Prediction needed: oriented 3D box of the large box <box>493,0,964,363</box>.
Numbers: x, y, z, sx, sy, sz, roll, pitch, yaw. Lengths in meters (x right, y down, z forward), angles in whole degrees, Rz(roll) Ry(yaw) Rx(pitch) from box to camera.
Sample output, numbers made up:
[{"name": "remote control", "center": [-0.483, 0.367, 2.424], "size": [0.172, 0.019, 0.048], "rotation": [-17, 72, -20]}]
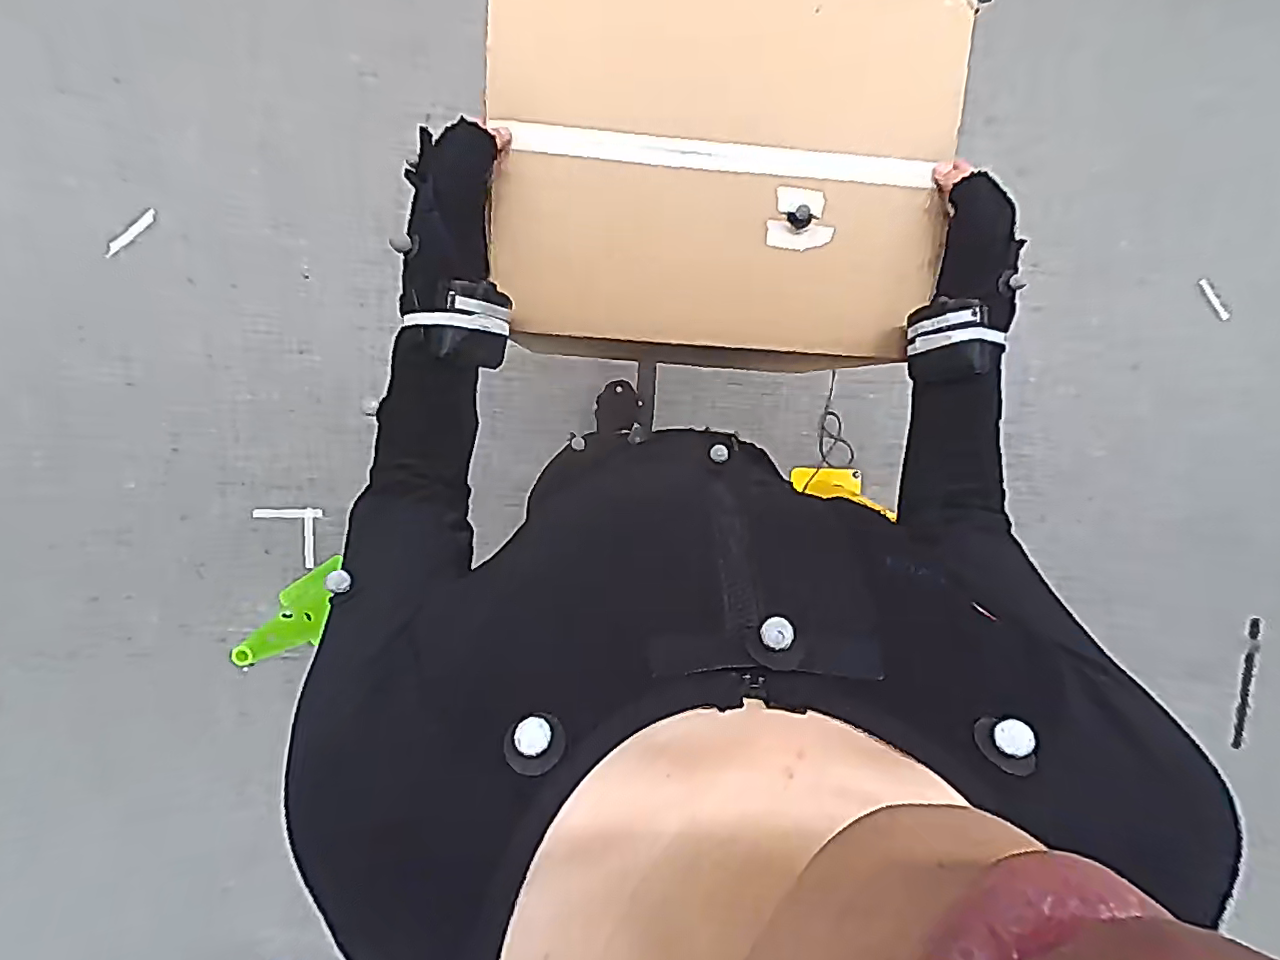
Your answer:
[{"name": "large box", "center": [0.061, -0.308, 0.614], "size": [0.408, 0.320, 0.320], "rotation": [3, 99, -5]}]

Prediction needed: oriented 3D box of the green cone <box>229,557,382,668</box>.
[{"name": "green cone", "center": [-0.804, 0.338, 1.255], "size": [0.202, 0.368, 0.200], "rotation": [-35, 94, 1]}]

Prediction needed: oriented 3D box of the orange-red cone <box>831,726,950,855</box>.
[{"name": "orange-red cone", "center": [0.656, 0.807, 1.374], "size": [0.198, 0.360, 0.199], "rotation": [0, 92, -4]}]
